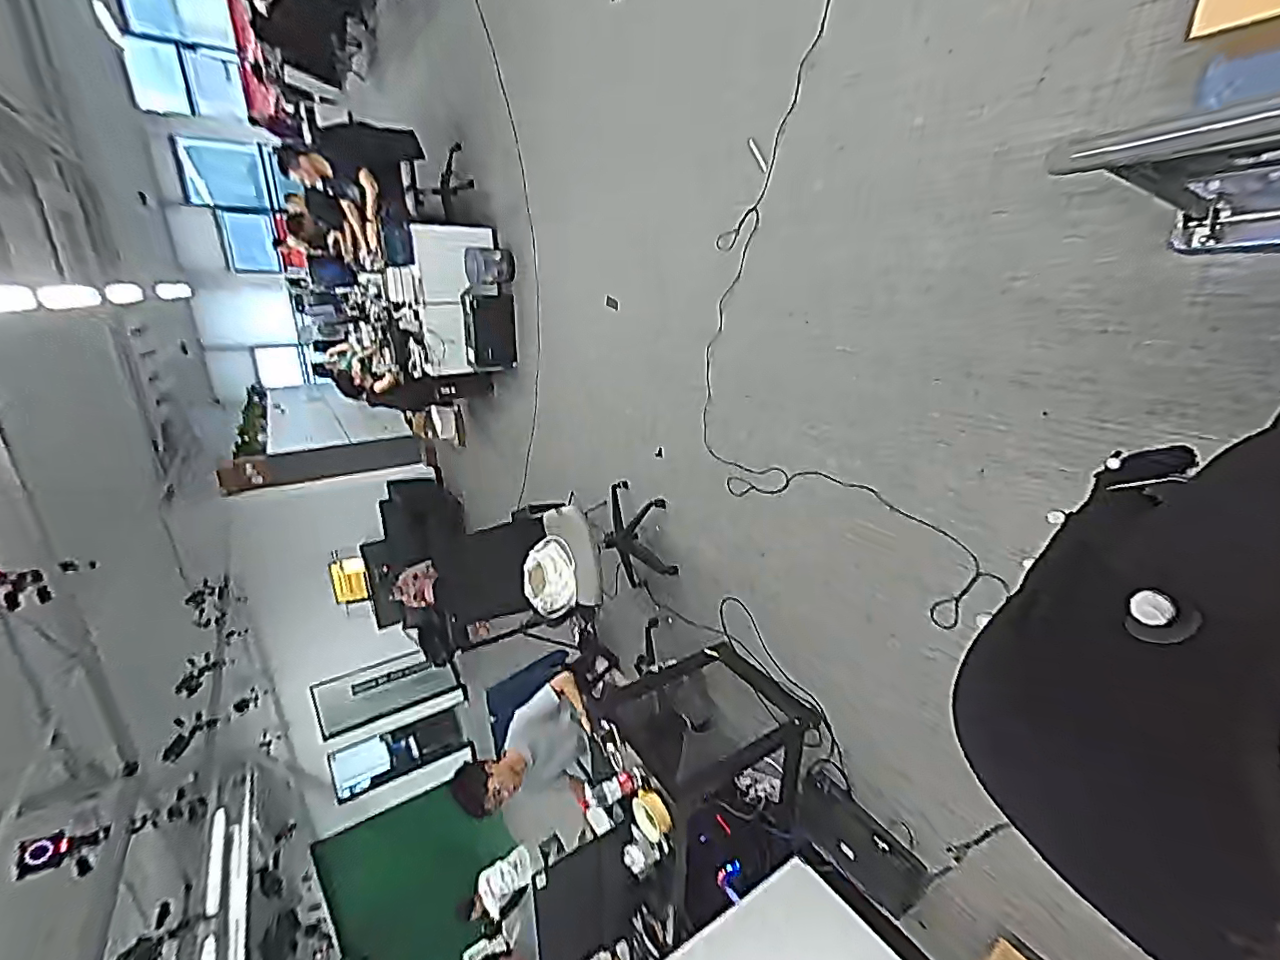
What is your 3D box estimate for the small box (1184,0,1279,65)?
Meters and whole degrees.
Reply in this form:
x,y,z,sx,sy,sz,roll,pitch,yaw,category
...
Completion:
x,y,z,sx,sy,sz,roll,pitch,yaw,category
0.903,-0.701,0.734,0.179,0.176,0.168,23,119,51,small box
